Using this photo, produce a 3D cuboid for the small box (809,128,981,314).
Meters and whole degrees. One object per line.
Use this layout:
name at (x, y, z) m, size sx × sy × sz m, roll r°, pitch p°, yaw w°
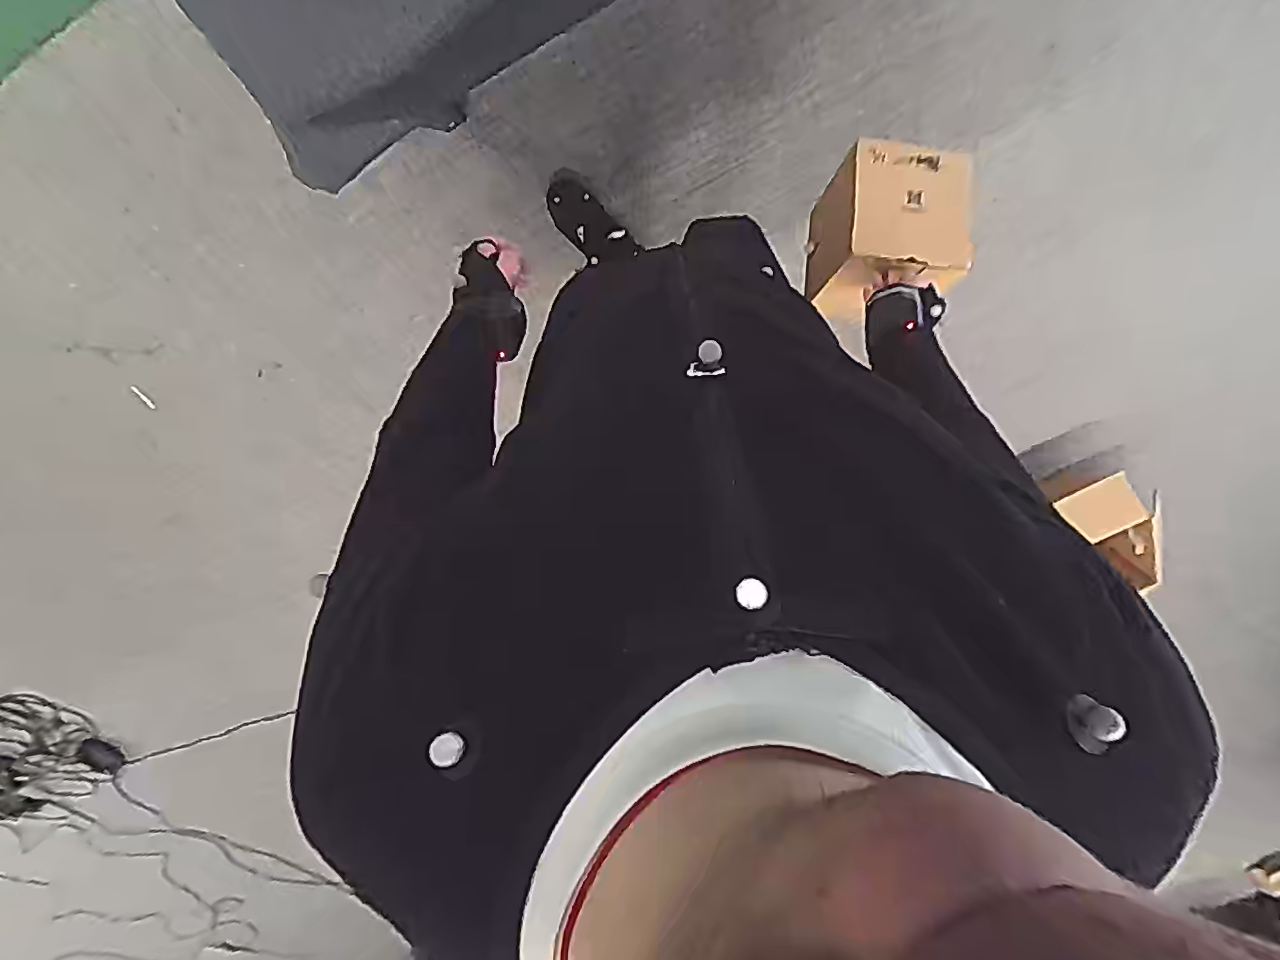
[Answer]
small box at (0.360, -0.363, 0.791) m, size 0.168 × 0.176 × 0.179 m, roll 7°, pitch 83°, yaw -4°
